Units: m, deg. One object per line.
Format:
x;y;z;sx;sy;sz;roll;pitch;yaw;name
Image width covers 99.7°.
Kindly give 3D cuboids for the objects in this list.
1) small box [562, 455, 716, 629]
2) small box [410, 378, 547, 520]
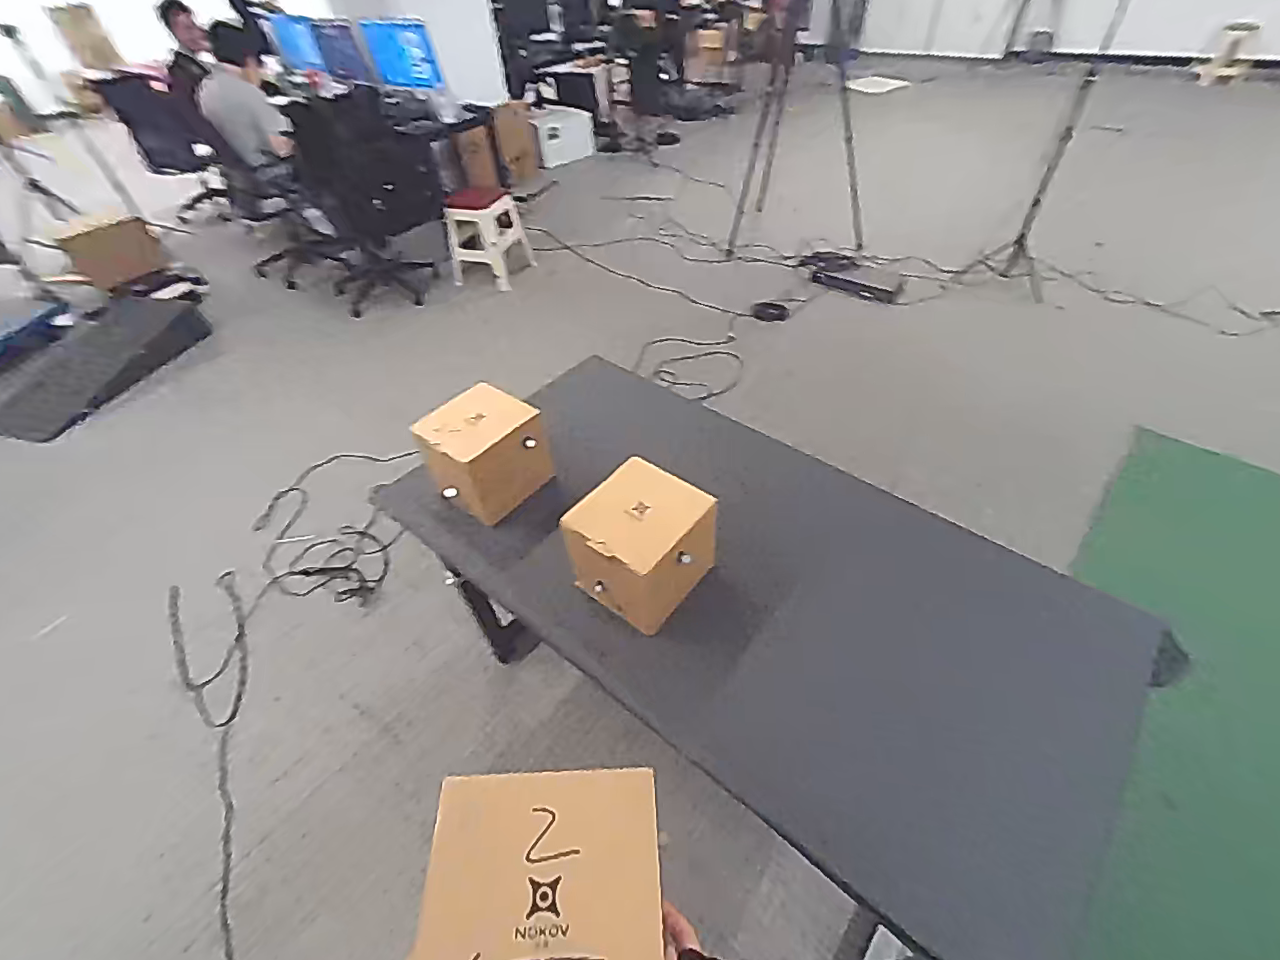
0.001;0.098;0.860;0.168;0.176;0.179;30;55;28;small box
-0.295;-0.059;1.028;0.168;0.176;0.179;29;54;28;small box
